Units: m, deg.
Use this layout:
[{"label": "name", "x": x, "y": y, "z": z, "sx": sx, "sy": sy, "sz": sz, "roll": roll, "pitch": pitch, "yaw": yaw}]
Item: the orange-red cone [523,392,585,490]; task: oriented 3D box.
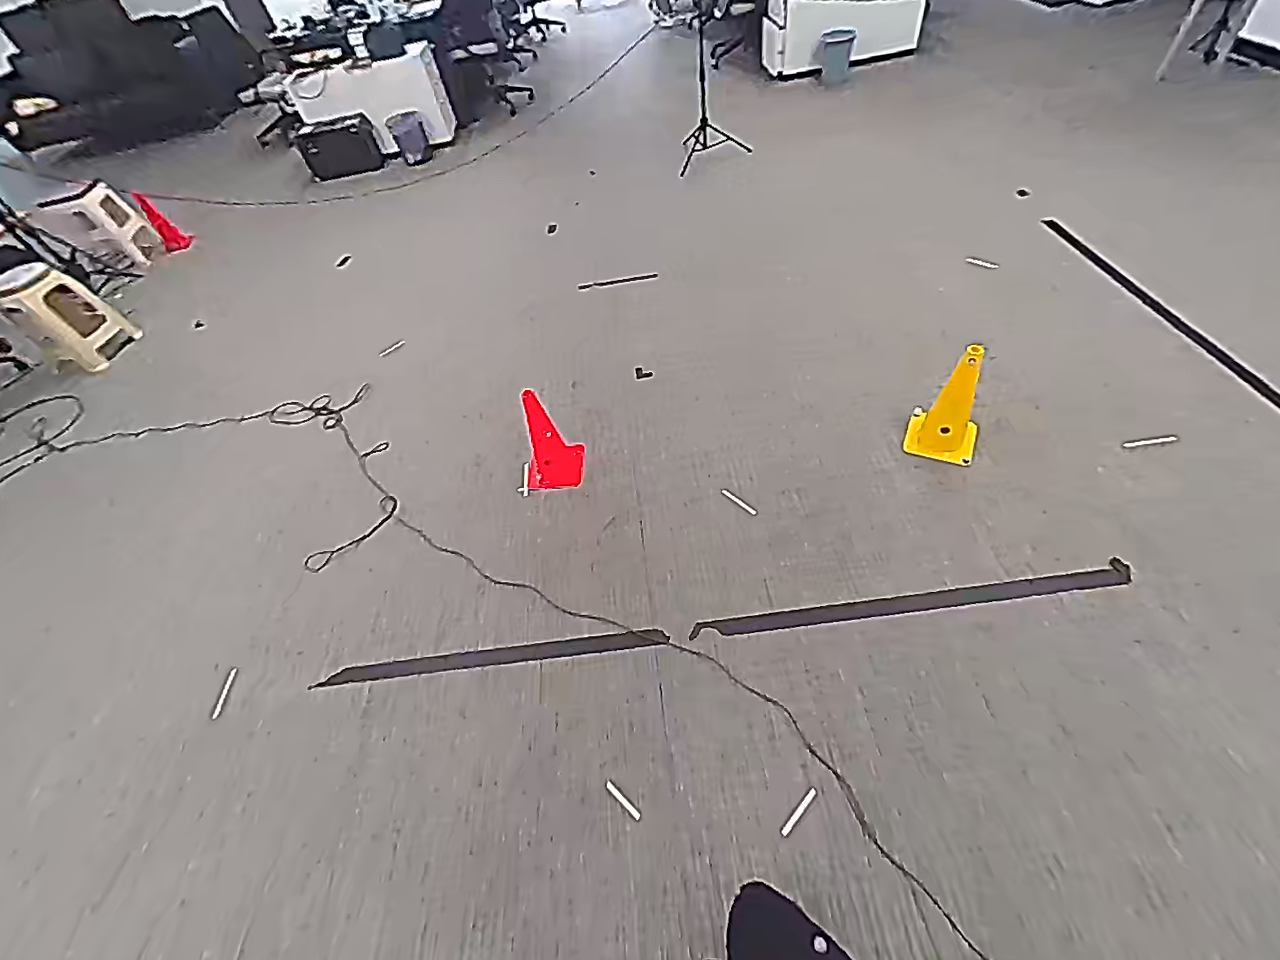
[{"label": "orange-red cone", "x": -0.322, "y": -0.151, "z": 1.813, "sx": 0.199, "sy": 0.360, "sz": 0.198, "roll": -2, "pitch": 51, "yaw": 7}]
